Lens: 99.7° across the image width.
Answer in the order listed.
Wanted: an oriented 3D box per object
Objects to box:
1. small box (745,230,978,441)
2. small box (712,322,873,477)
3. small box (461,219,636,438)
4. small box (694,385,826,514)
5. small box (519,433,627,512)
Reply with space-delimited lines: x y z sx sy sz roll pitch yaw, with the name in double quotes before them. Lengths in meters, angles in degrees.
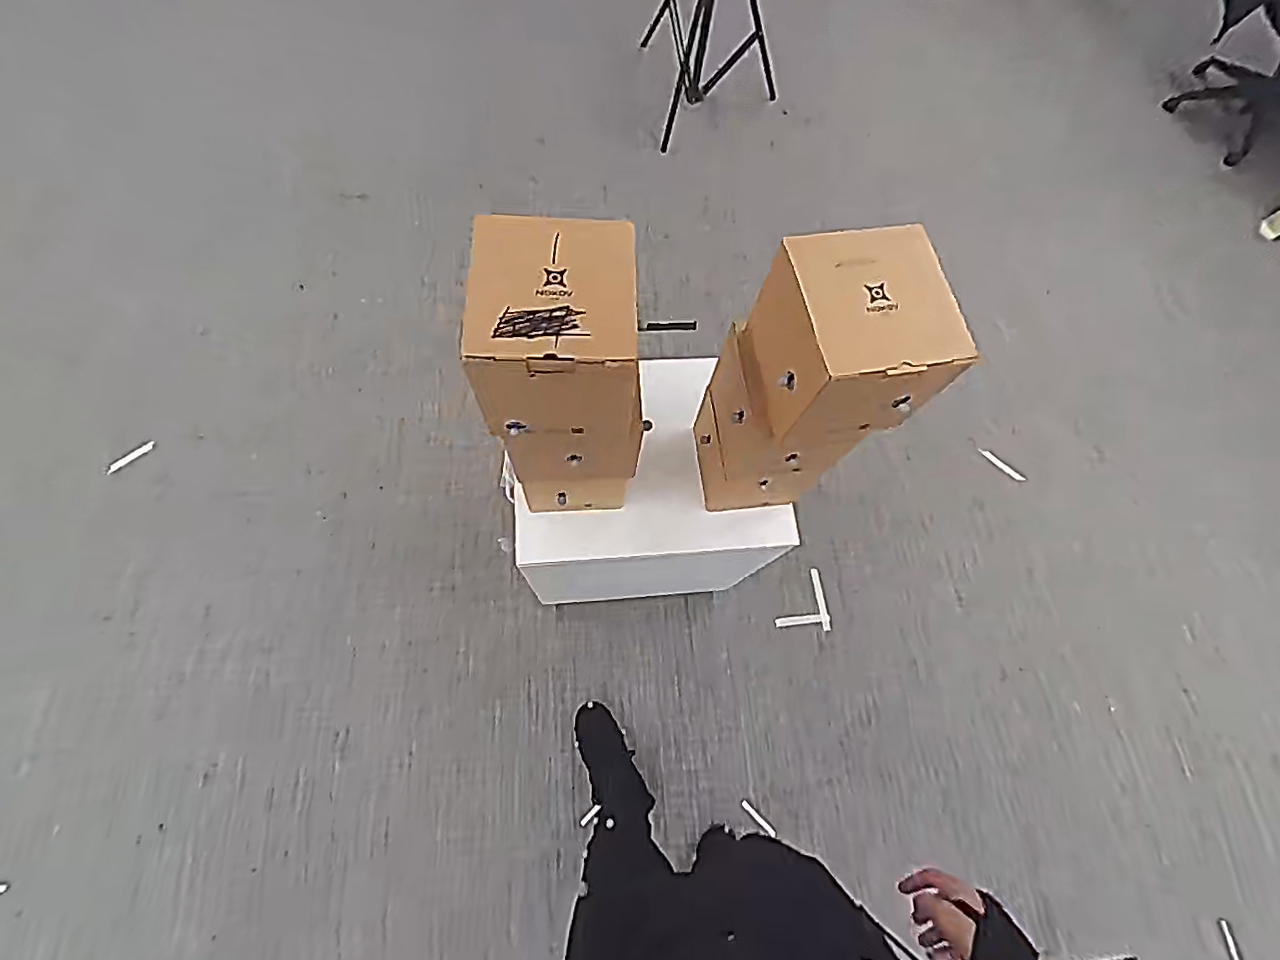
"small box" 0.238 -0.156 0.631 0.168 0.176 0.179 -9 71 -9
"small box" 0.209 -0.110 0.785 0.168 0.176 0.179 -4 70 -6
"small box" -0.090 -0.157 0.602 0.168 0.176 0.179 0 69 -5
"small box" 0.196 -0.053 0.940 0.168 0.176 0.179 -6 70 -6
"small box" -0.111 -0.048 0.912 0.168 0.176 0.179 -2 70 -7
